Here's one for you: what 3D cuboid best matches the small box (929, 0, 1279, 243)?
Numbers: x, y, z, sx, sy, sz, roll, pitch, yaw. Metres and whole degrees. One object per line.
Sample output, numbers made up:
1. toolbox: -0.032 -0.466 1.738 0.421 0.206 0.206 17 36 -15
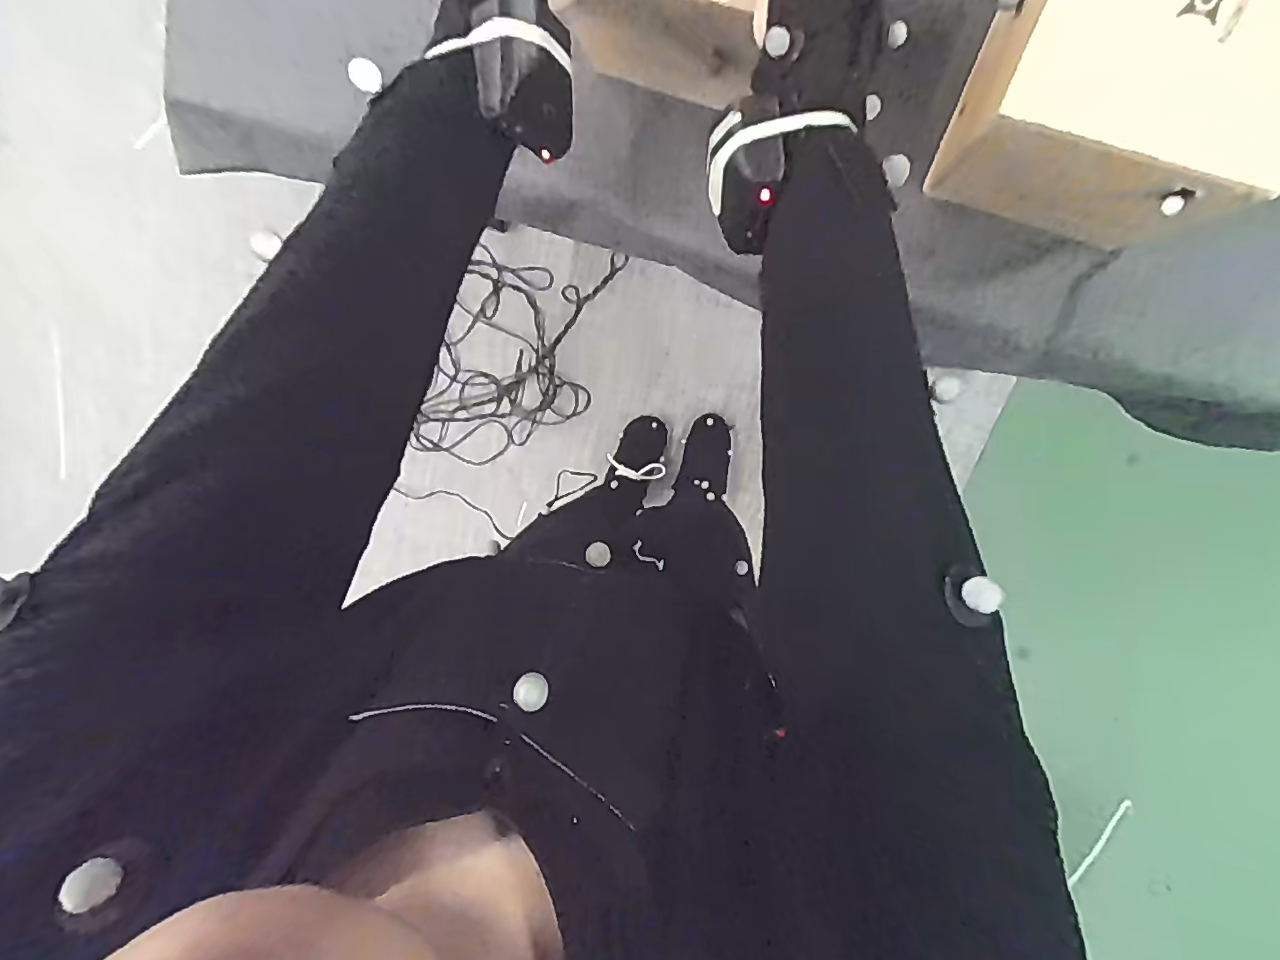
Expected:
1. small box: 0.344 -0.289 0.387 0.179 0.176 0.168 21 106 6
